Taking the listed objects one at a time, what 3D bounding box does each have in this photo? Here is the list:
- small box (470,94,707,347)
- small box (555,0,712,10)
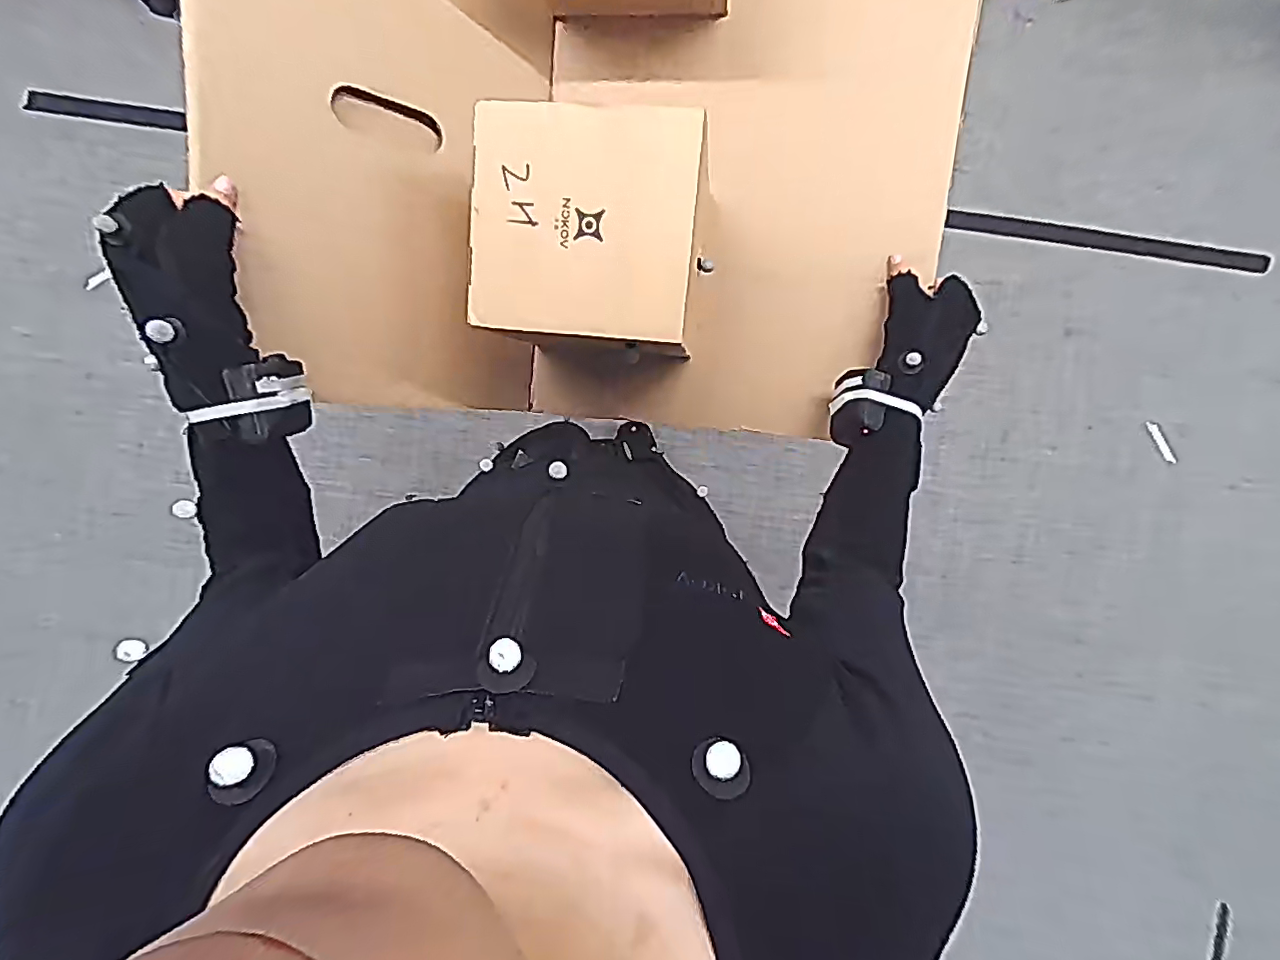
[{"bbox_3d":[-0.034,-0.217,0.495,0.179,0.176,0.168,7,100,7],"label":"small box"},{"bbox_3d":[-0.009,-0.529,0.440,0.179,0.176,0.168,5,100,7],"label":"small box"}]
